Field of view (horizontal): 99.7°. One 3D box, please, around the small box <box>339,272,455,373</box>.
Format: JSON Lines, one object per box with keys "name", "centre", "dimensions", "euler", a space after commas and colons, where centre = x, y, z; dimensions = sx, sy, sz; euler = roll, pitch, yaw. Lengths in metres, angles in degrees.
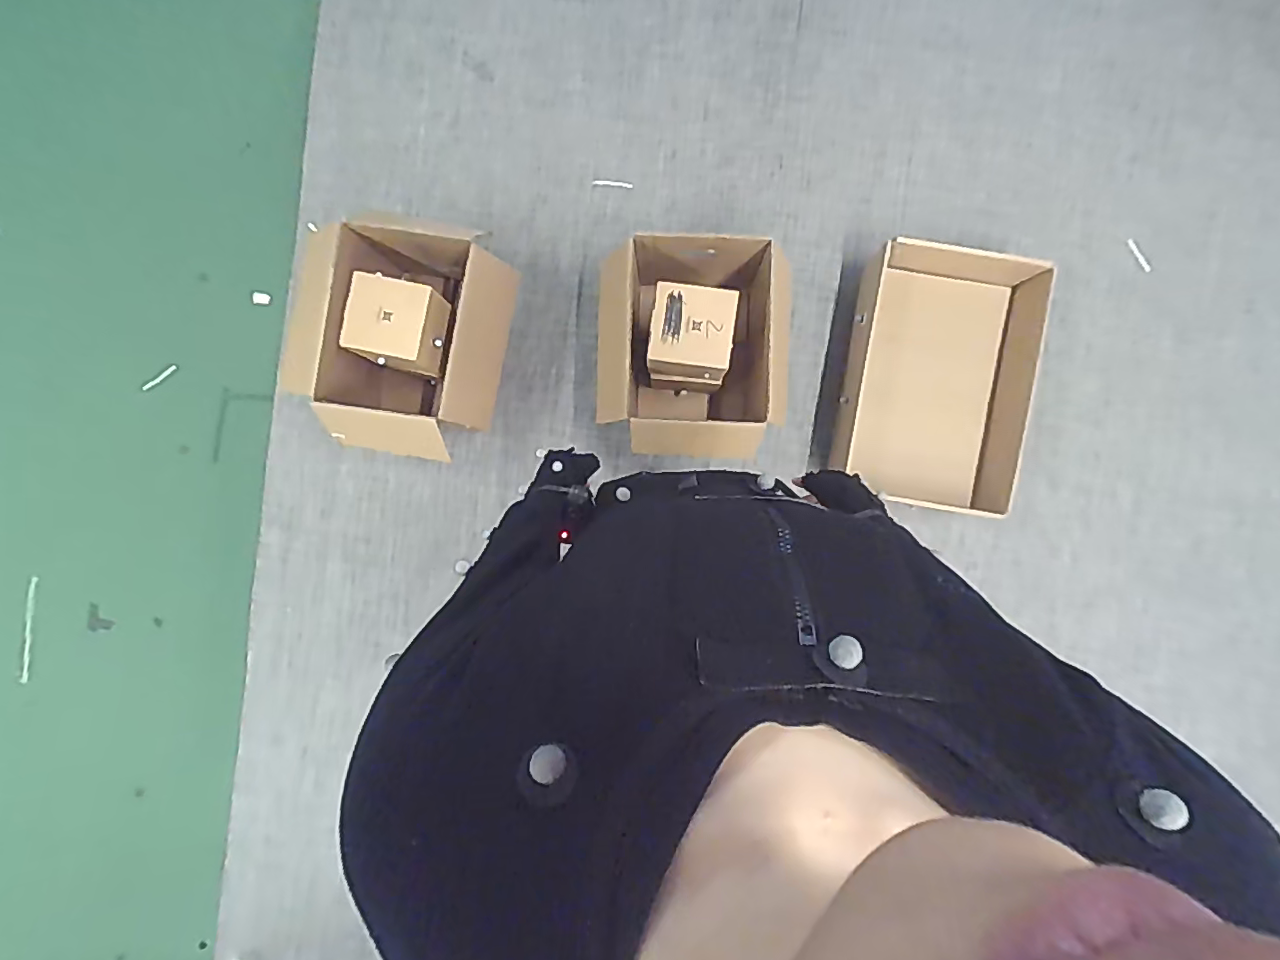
{"name": "small box", "centre": [-0.546, -0.351, 1.240], "dimensions": [0.179, 0.176, 0.168], "euler": [11, 90, 1]}
